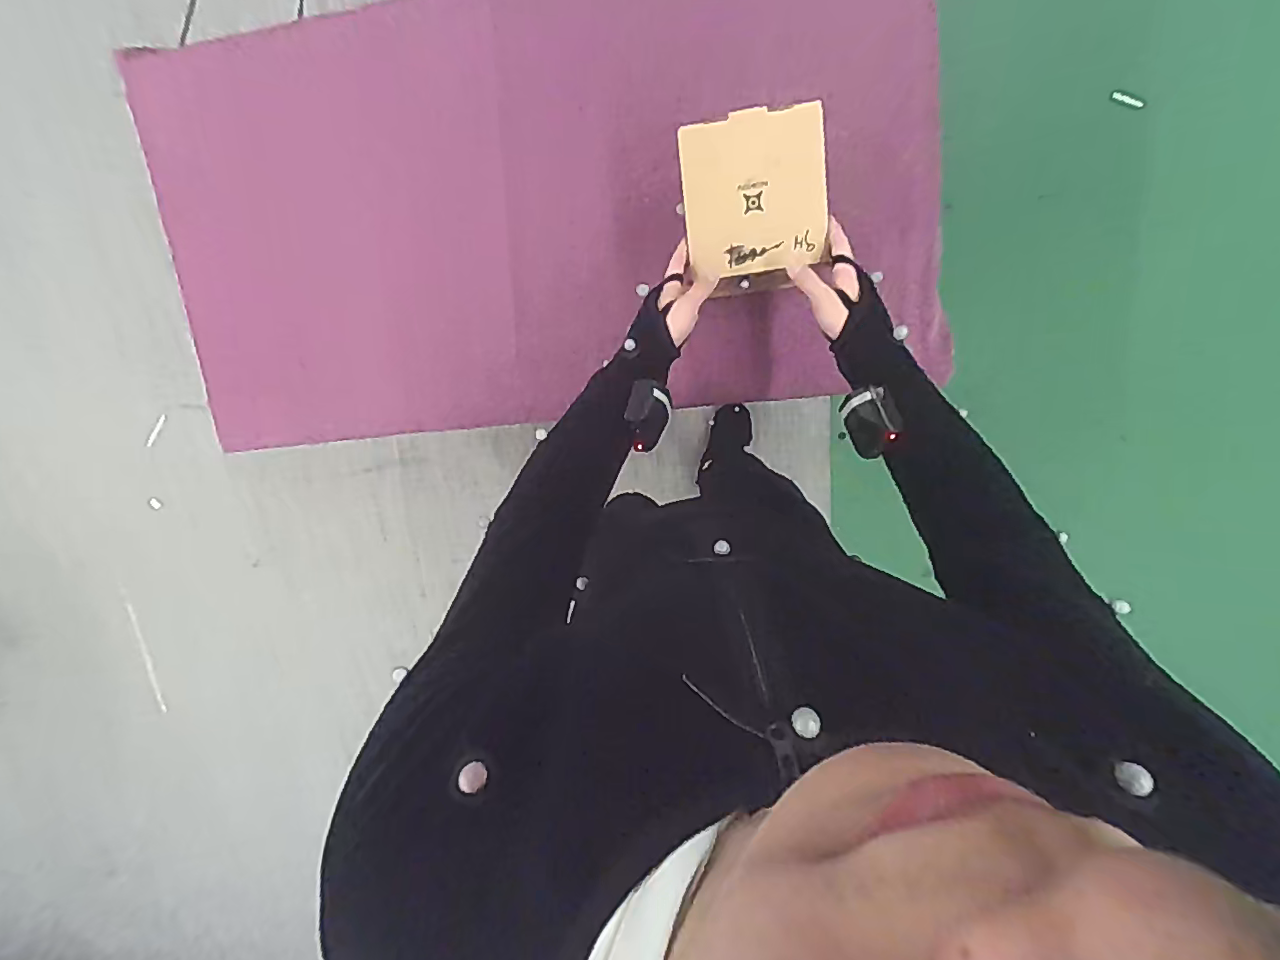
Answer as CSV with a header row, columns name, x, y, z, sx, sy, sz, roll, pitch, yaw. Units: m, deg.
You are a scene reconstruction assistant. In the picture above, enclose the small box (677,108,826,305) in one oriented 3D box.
name,x,y,z,sx,sy,sz,roll,pitch,yaw
small box,0.141,-0.340,0.709,0.168,0.176,0.179,-5,99,10
